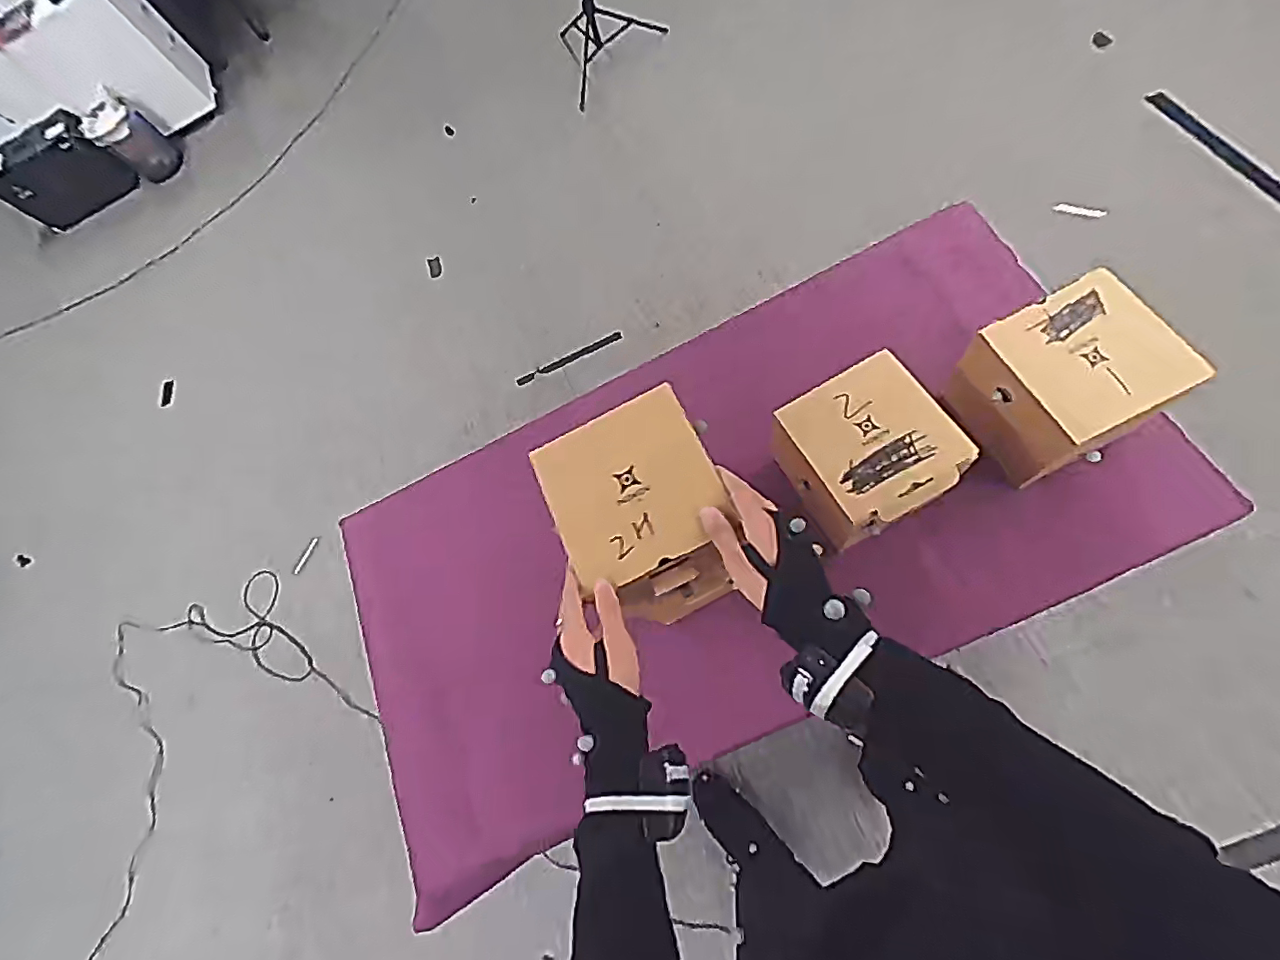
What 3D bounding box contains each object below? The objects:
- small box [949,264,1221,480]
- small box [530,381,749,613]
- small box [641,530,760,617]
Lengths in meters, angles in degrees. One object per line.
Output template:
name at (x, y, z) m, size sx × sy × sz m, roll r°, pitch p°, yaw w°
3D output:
small box at (0.535, -0.126, 0.689) m, size 0.168 × 0.176 × 0.179 m, roll -28°, pitch 68°, yaw 5°
small box at (0.008, 0.030, 0.596) m, size 0.168 × 0.176 × 0.179 m, roll -27°, pitch 68°, yaw 4°
small box at (0.055, 0.077, 0.747) m, size 0.168 × 0.176 × 0.179 m, roll -29°, pitch 67°, yaw 3°
